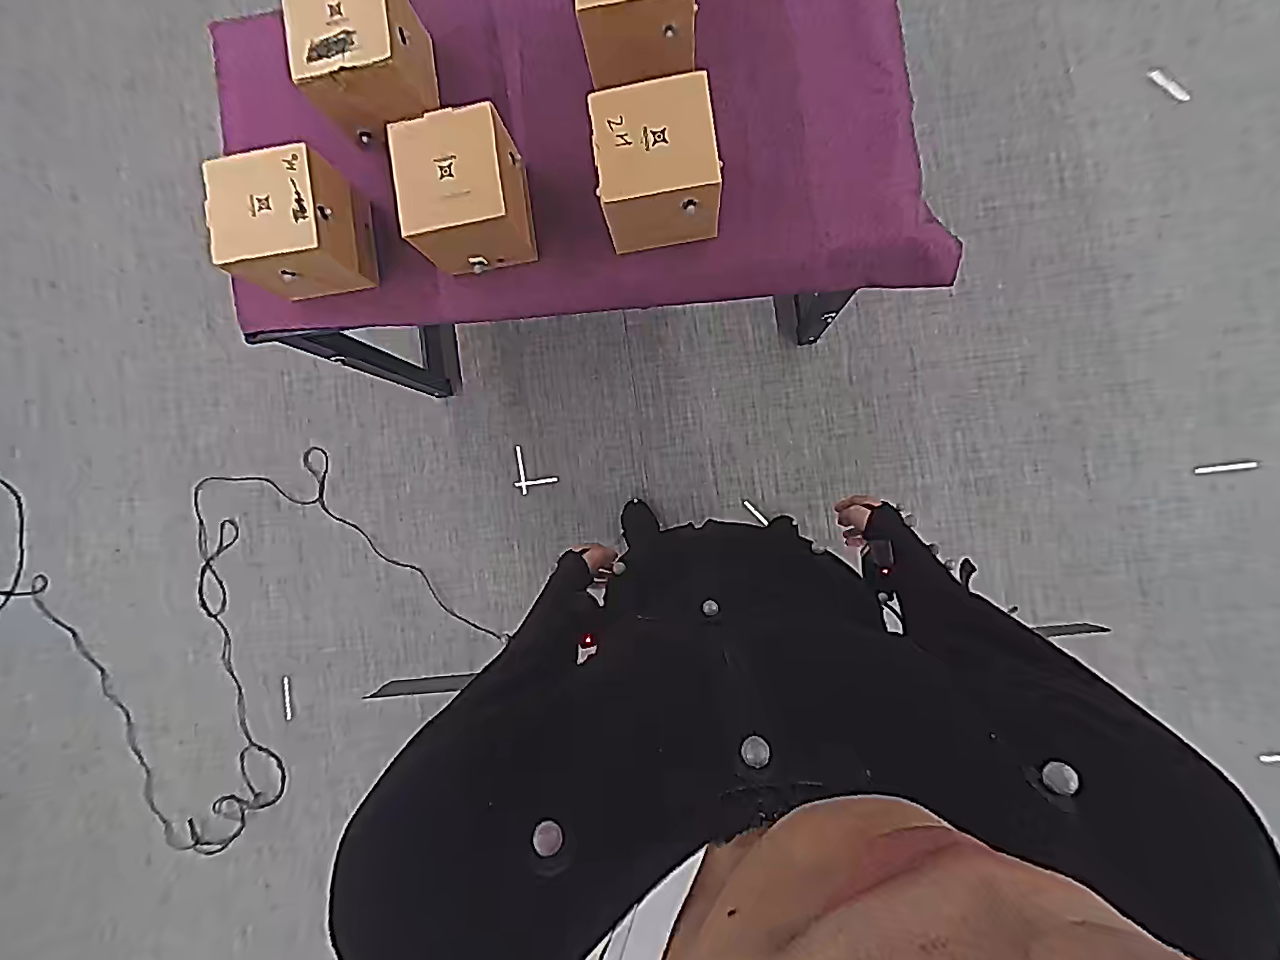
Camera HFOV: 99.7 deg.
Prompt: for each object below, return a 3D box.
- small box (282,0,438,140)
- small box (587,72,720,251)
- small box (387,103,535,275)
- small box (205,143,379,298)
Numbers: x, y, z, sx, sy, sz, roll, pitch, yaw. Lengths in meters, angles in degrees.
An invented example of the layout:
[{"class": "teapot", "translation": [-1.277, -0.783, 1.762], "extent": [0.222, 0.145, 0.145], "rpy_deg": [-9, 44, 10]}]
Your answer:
[{"class": "small box", "translation": [-0.456, -0.703, 0.903], "extent": [0.168, 0.176, 0.179], "rpy_deg": [-8, 88, 5]}, {"class": "small box", "translation": [0.025, -0.485, 0.849], "extent": [0.179, 0.176, 0.168], "rpy_deg": [-7, 88, 6]}, {"class": "small box", "translation": [-0.281, -0.461, 0.882], "extent": [0.168, 0.176, 0.179], "rpy_deg": [-8, 90, 6]}, {"class": "small box", "translation": [-0.574, -0.421, 0.908], "extent": [0.179, 0.176, 0.168], "rpy_deg": [-7, 89, 6]}]
